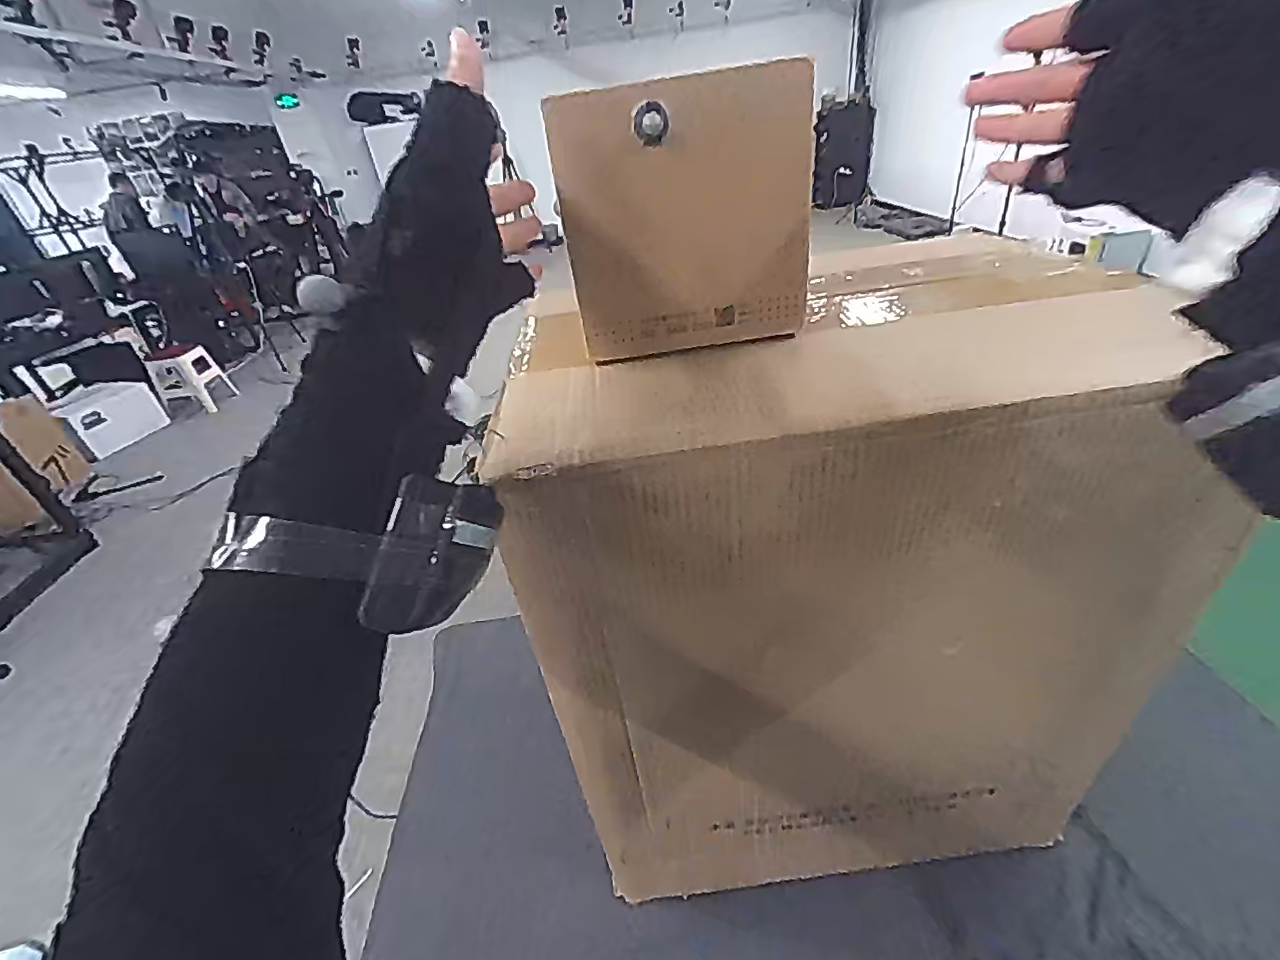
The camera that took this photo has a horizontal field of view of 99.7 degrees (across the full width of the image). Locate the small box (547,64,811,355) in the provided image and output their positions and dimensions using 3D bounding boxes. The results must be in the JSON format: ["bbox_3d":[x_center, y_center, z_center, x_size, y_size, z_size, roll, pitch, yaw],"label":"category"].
[{"bbox_3d":[0.029,-0.214,0.442,0.168,0.176,0.179,-8,32,1],"label":"small box"}]
